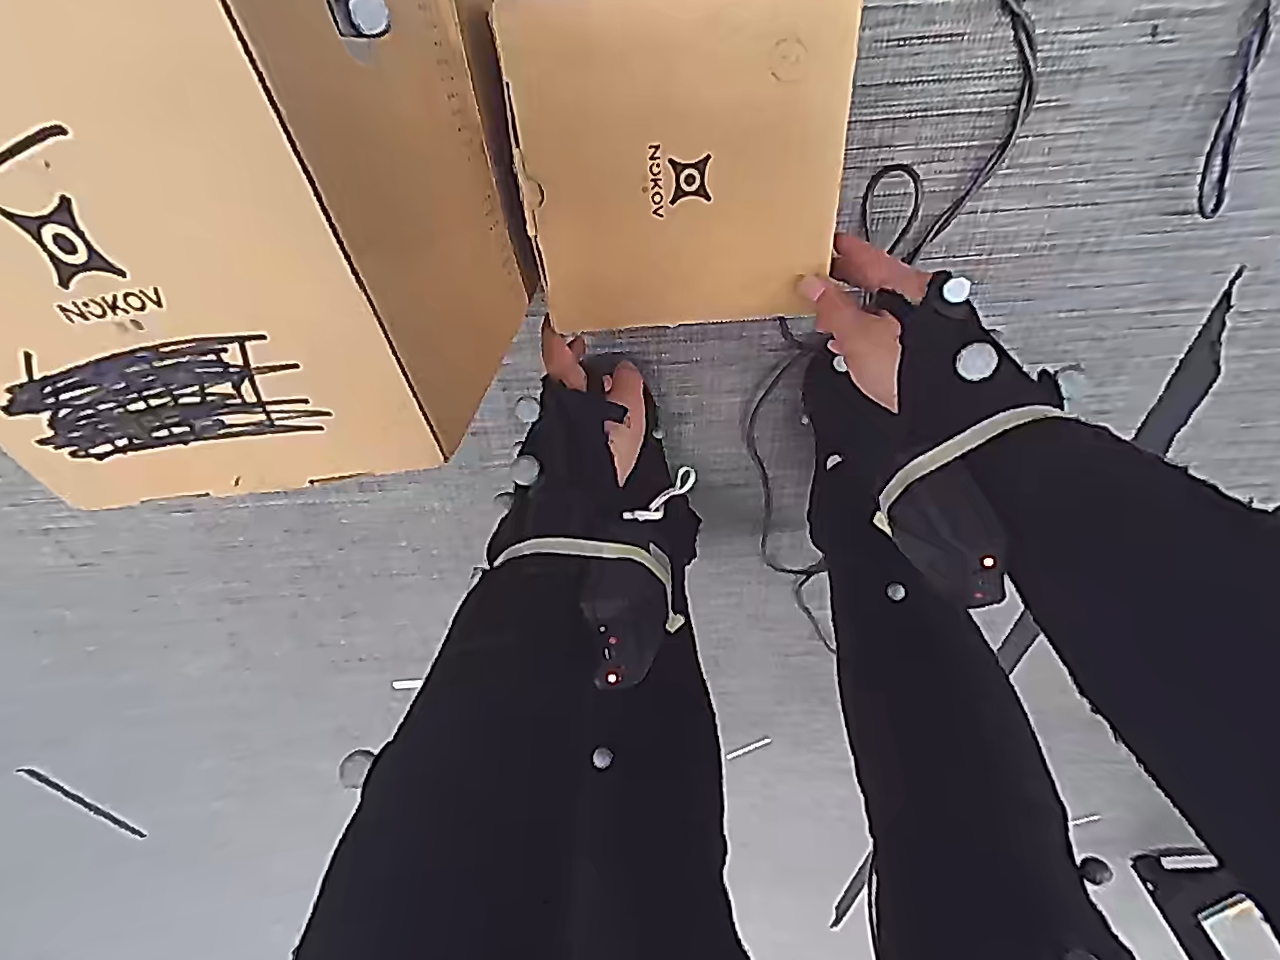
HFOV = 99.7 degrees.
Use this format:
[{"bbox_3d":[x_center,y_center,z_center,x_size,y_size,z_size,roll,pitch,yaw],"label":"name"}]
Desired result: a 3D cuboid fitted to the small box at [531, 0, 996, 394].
[{"bbox_3d":[0.038,-0.165,0.303,0.168,0.176,0.179,7,140,-23],"label":"small box"}]
